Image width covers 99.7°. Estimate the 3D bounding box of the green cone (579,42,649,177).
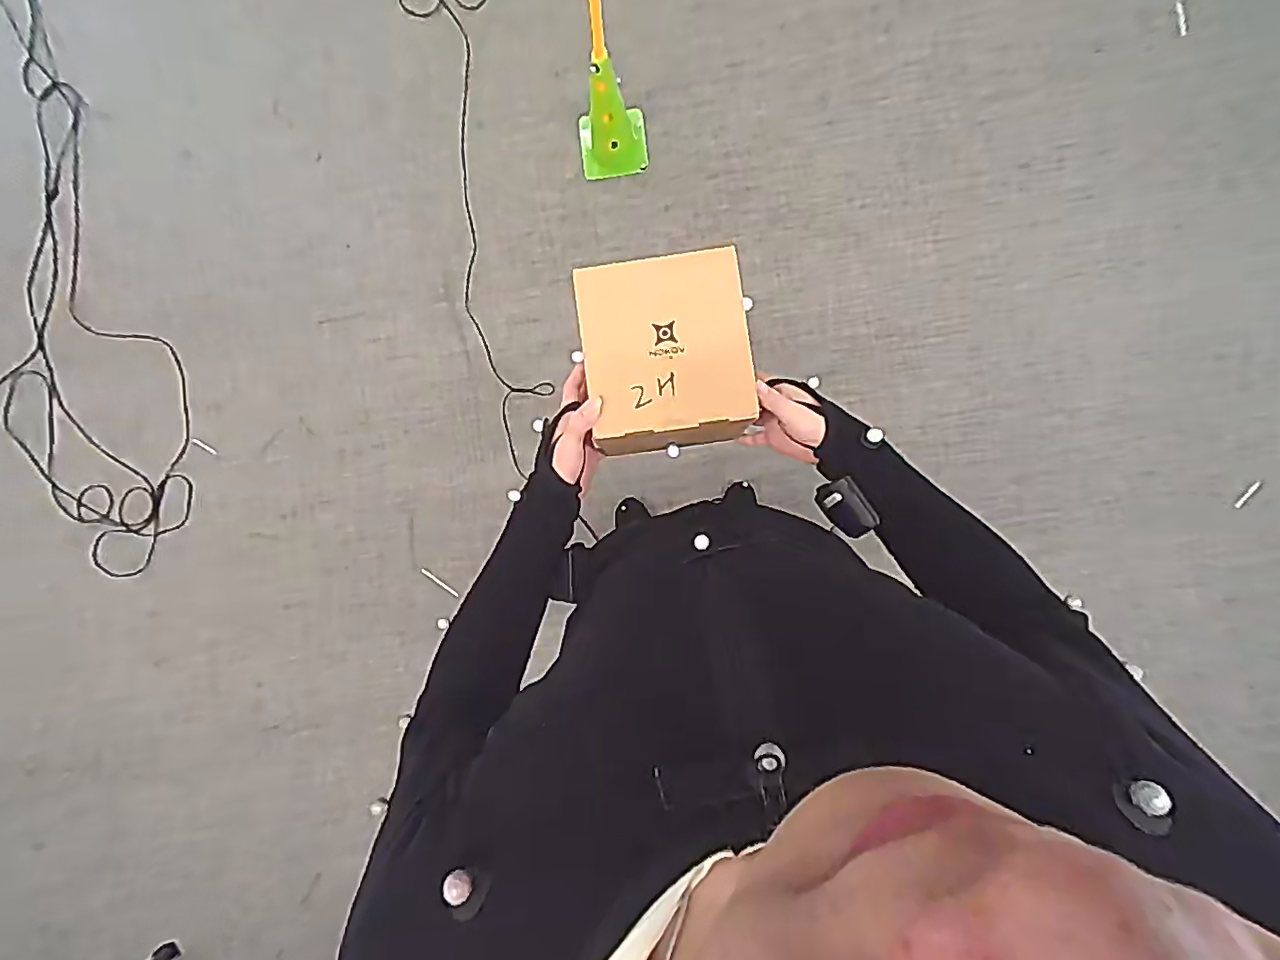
[{"bbox_3d":[-0.092,-1.050,1.494,0.202,0.368,0.200,-7,88,4],"label":"green cone"}]
